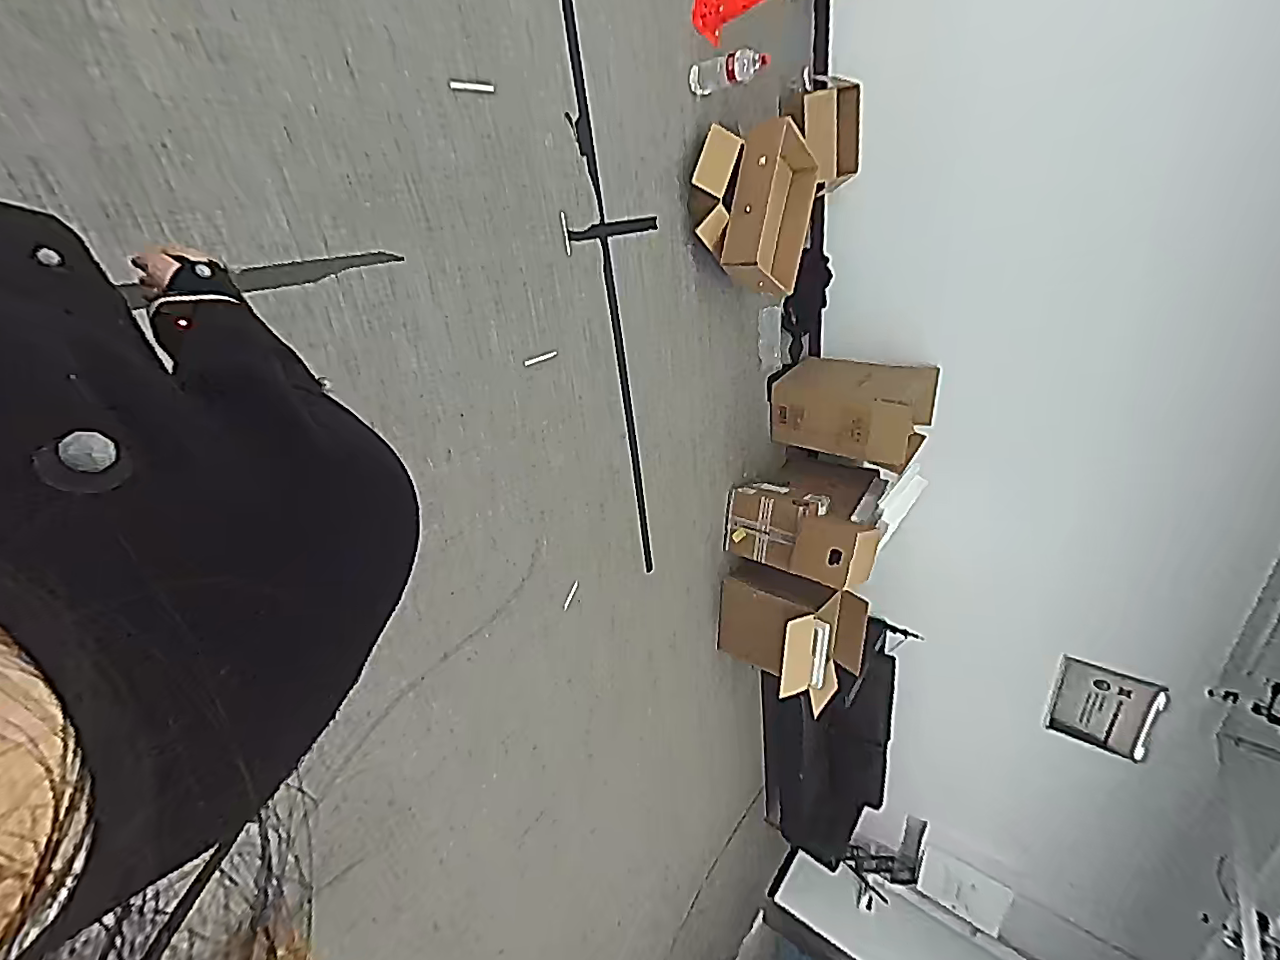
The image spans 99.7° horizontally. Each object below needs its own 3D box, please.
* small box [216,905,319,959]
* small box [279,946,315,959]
[{"bbox_3d":[-1.045,1.354,1.521,0.168,0.176,0.179,-36,128,-40],"label":"small box"},{"bbox_3d":[-0.921,1.387,1.421,0.168,0.176,0.179,-36,129,-39],"label":"small box"}]
